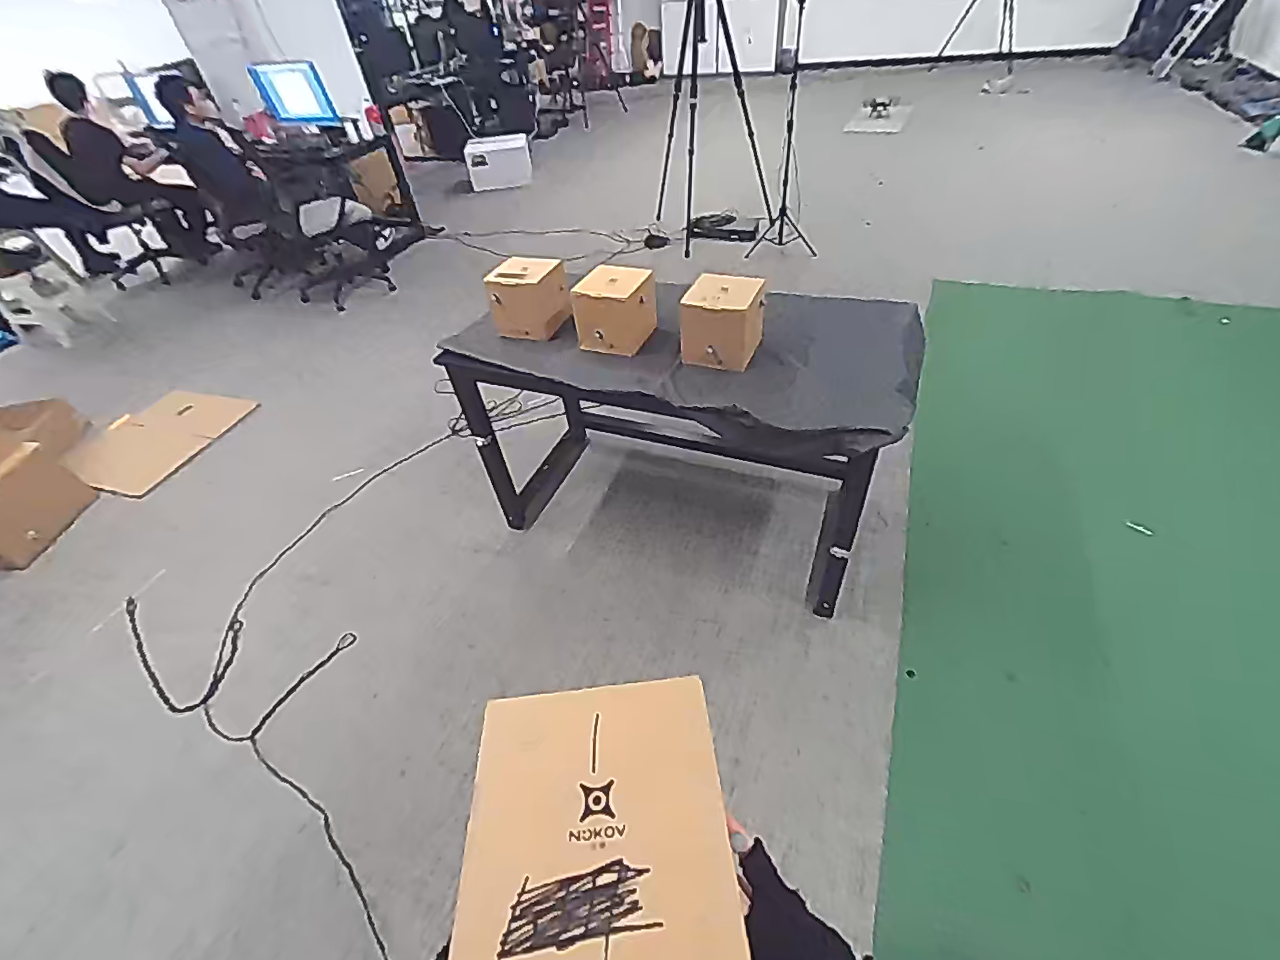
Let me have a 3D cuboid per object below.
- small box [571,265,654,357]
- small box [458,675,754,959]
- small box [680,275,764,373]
[{"bbox_3d":[-0.068,-0.459,1.468,0.168,0.176,0.179,14,48,19],"label":"small box"},{"bbox_3d":[-0.017,0.272,0.398,0.168,0.176,0.179,-6,41,0],"label":"small box"},{"bbox_3d":[0.206,-0.395,1.369,0.168,0.176,0.179,14,47,20],"label":"small box"}]
